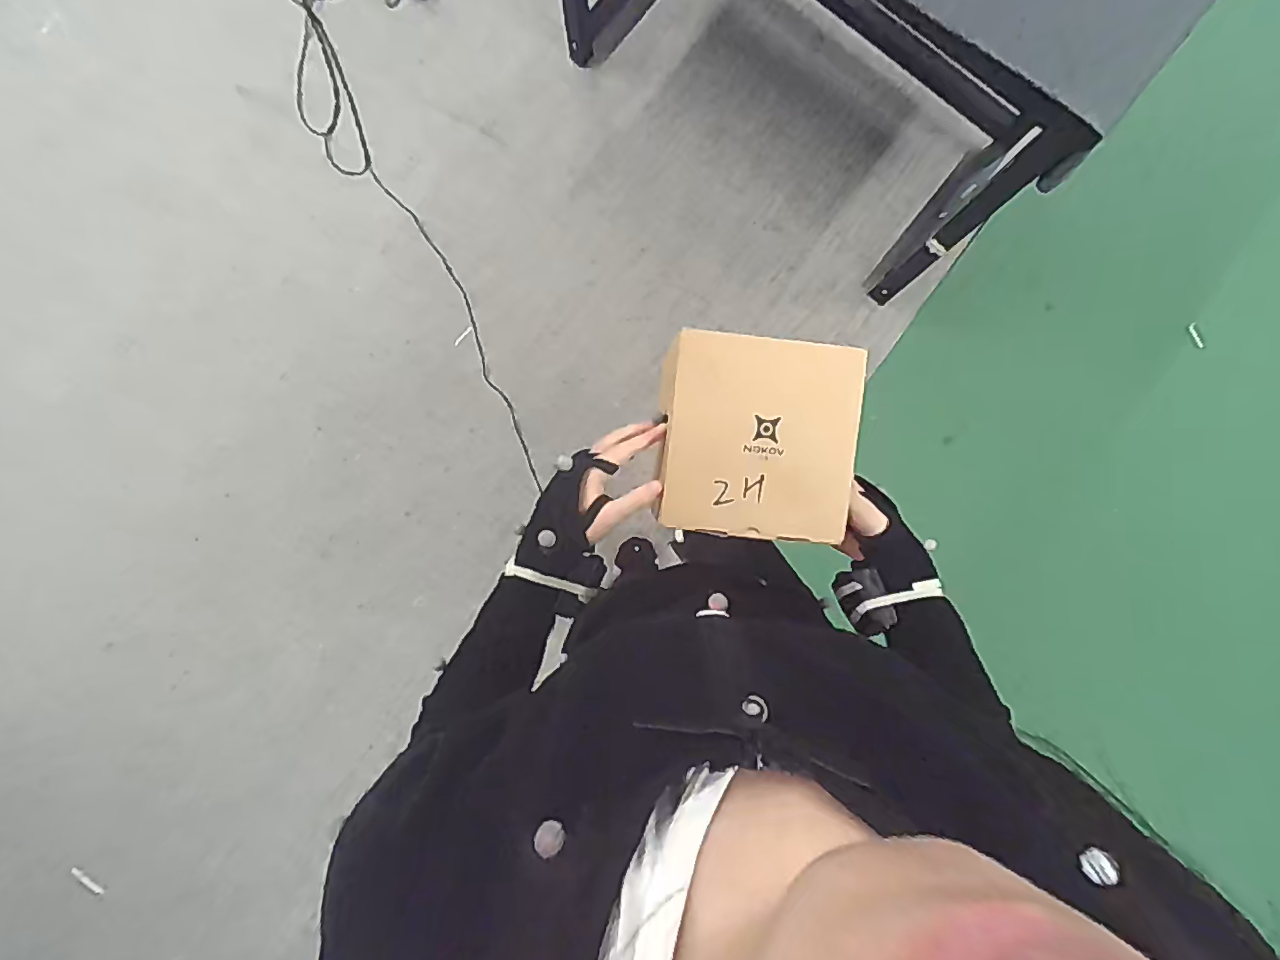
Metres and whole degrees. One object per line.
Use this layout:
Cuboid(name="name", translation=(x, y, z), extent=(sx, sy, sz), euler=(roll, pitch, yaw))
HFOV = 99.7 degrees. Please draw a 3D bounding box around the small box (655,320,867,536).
Cuboid(name="small box", translation=(0.107, -0.048, 0.554), extent=(0.168, 0.176, 0.179), euler=(6, 93, -2))
